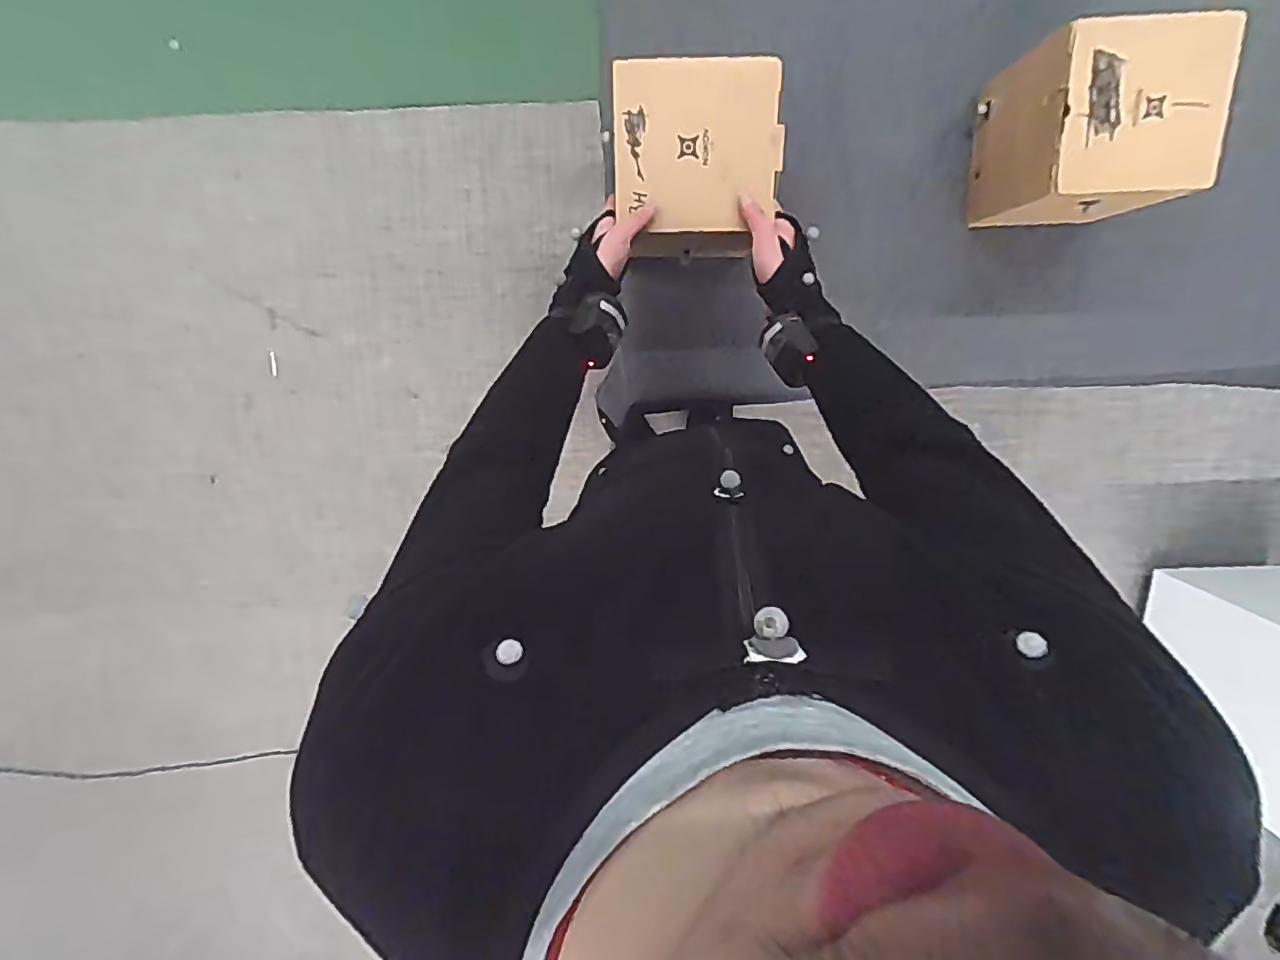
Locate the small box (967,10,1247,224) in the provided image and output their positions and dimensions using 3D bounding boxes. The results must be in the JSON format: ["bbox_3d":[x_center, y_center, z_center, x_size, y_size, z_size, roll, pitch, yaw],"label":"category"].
[{"bbox_3d":[0.522,-0.407,0.637,0.179,0.176,0.168,-2,105,-1],"label":"small box"}]

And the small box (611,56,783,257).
[{"bbox_3d":[0.055,-0.364,0.639,0.179,0.176,0.168,0,105,-1],"label":"small box"}]
